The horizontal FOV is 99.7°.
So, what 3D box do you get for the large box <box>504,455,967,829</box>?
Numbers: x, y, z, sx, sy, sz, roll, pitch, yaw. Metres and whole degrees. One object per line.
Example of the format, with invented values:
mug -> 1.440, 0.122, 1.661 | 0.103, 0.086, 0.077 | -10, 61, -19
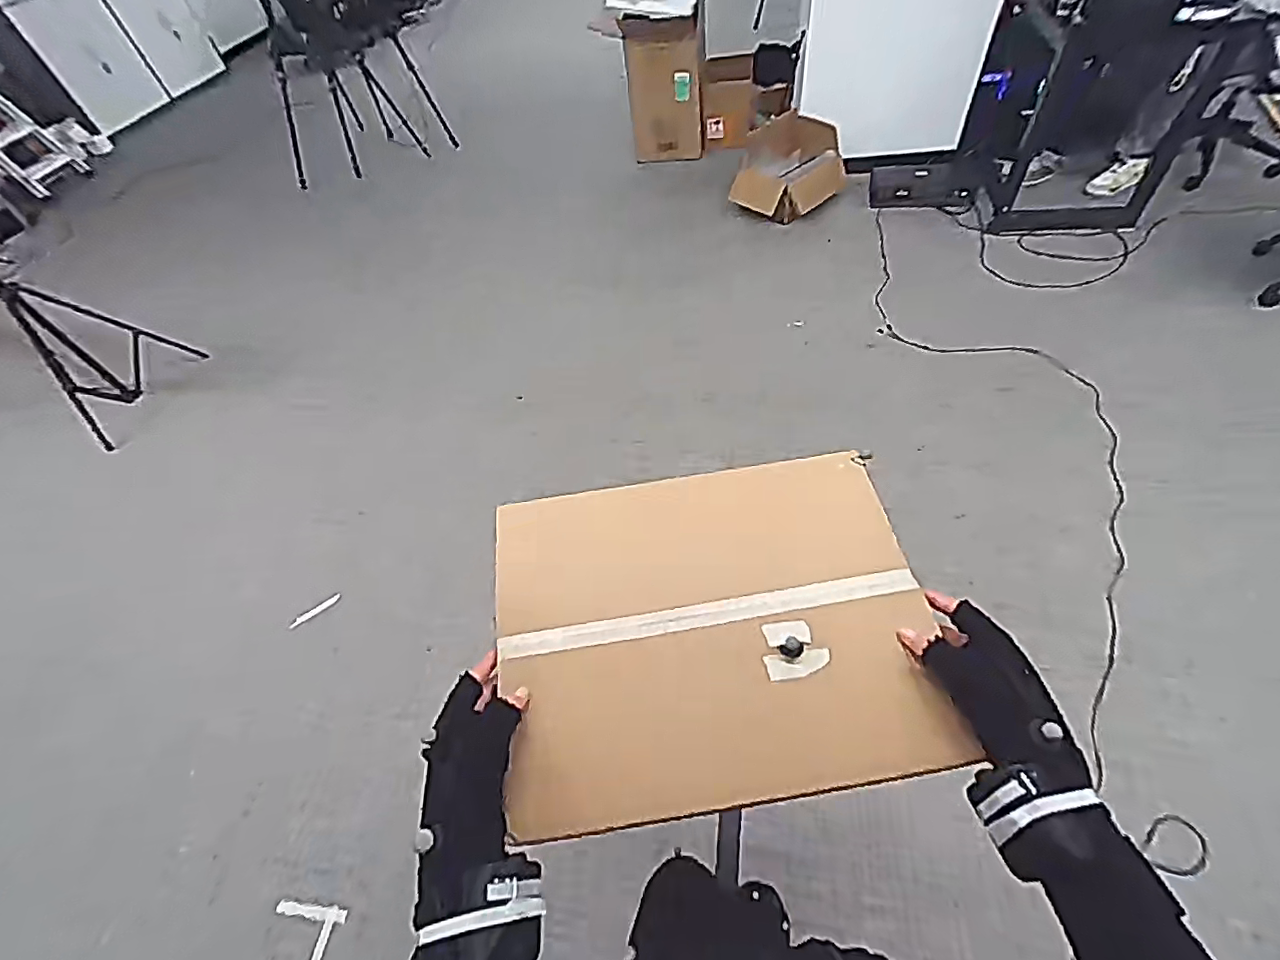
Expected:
large box -> 0.072, 0.210, 0.660 | 0.408, 0.320, 0.320 | -9, 58, -2
